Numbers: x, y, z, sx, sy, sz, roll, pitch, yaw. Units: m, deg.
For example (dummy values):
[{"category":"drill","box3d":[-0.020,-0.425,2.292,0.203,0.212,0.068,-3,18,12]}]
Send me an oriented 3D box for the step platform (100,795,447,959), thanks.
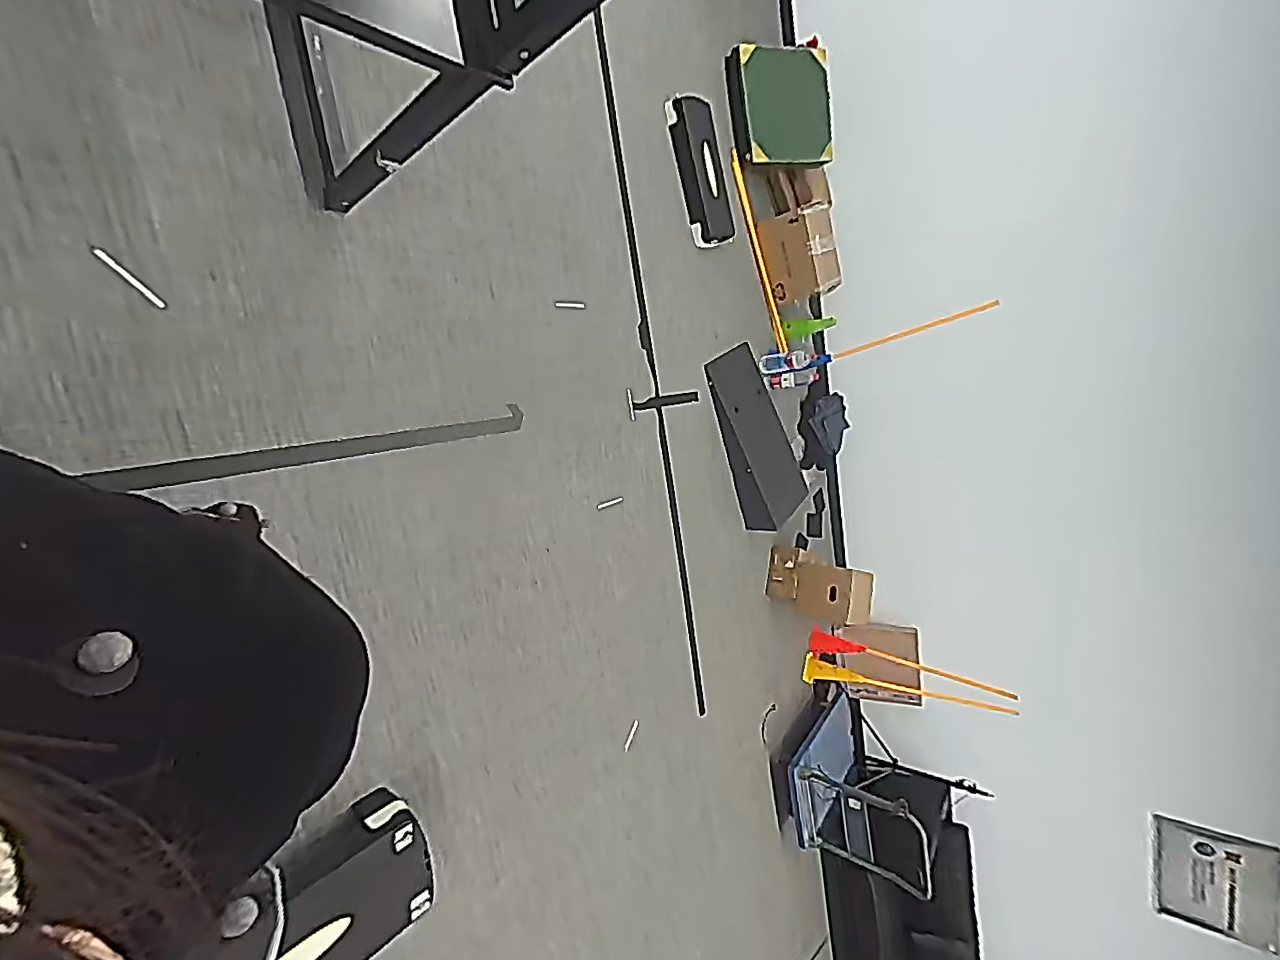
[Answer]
[{"category":"step platform","box3d":[-0.794,1.054,1.250,0.684,0.204,0.286,-10,96,-50]}]
